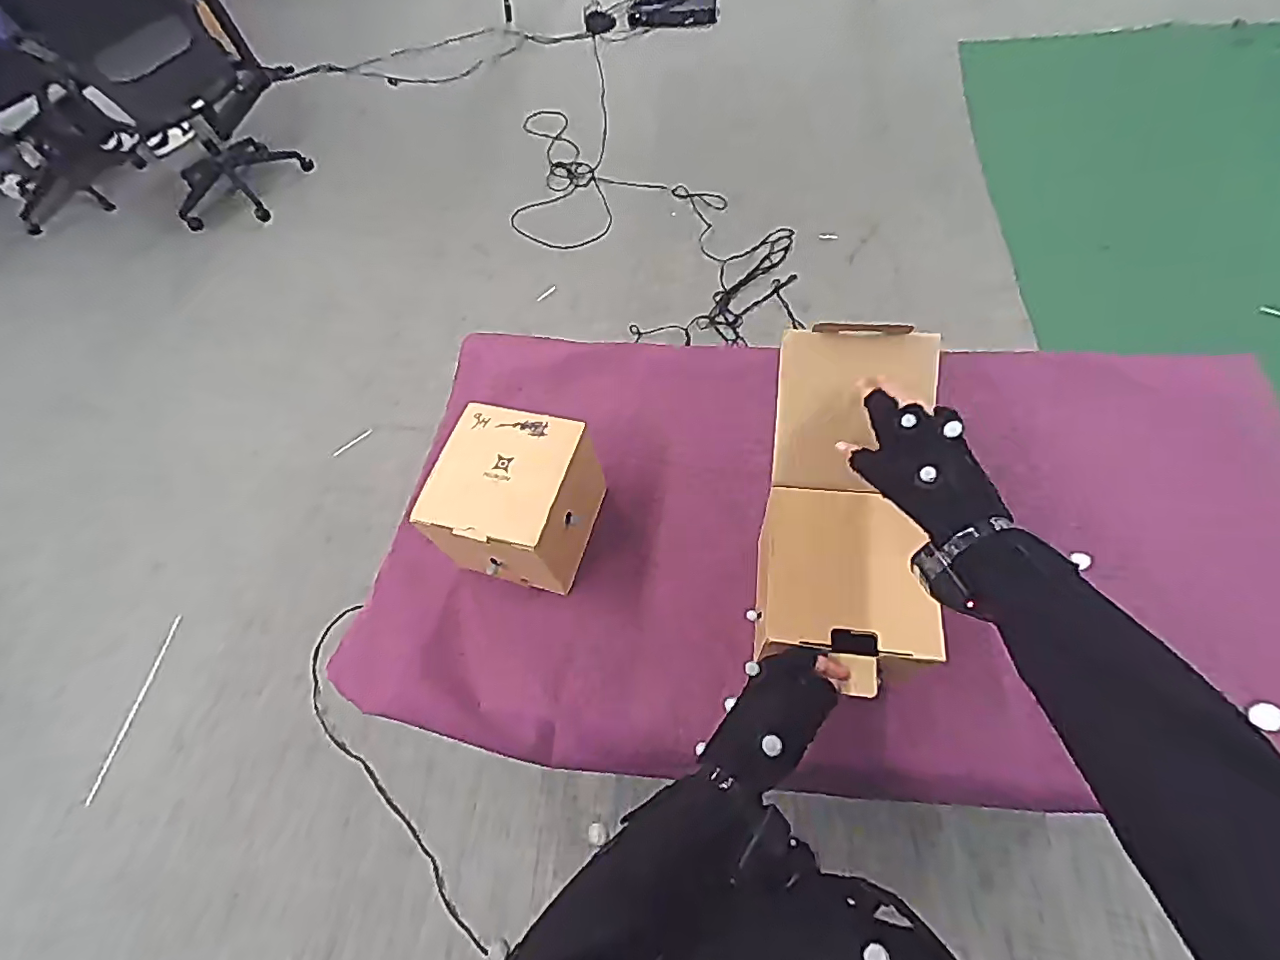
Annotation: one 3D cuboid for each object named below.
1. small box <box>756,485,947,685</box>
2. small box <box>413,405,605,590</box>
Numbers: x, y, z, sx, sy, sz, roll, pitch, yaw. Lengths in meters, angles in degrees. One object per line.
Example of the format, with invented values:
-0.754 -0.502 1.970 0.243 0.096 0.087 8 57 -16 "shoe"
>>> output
0.224 0.125 0.615 0.168 0.176 0.179 4 61 9 "small box"
-0.156 0.030 0.718 0.168 0.176 0.179 12 64 13 "small box"
